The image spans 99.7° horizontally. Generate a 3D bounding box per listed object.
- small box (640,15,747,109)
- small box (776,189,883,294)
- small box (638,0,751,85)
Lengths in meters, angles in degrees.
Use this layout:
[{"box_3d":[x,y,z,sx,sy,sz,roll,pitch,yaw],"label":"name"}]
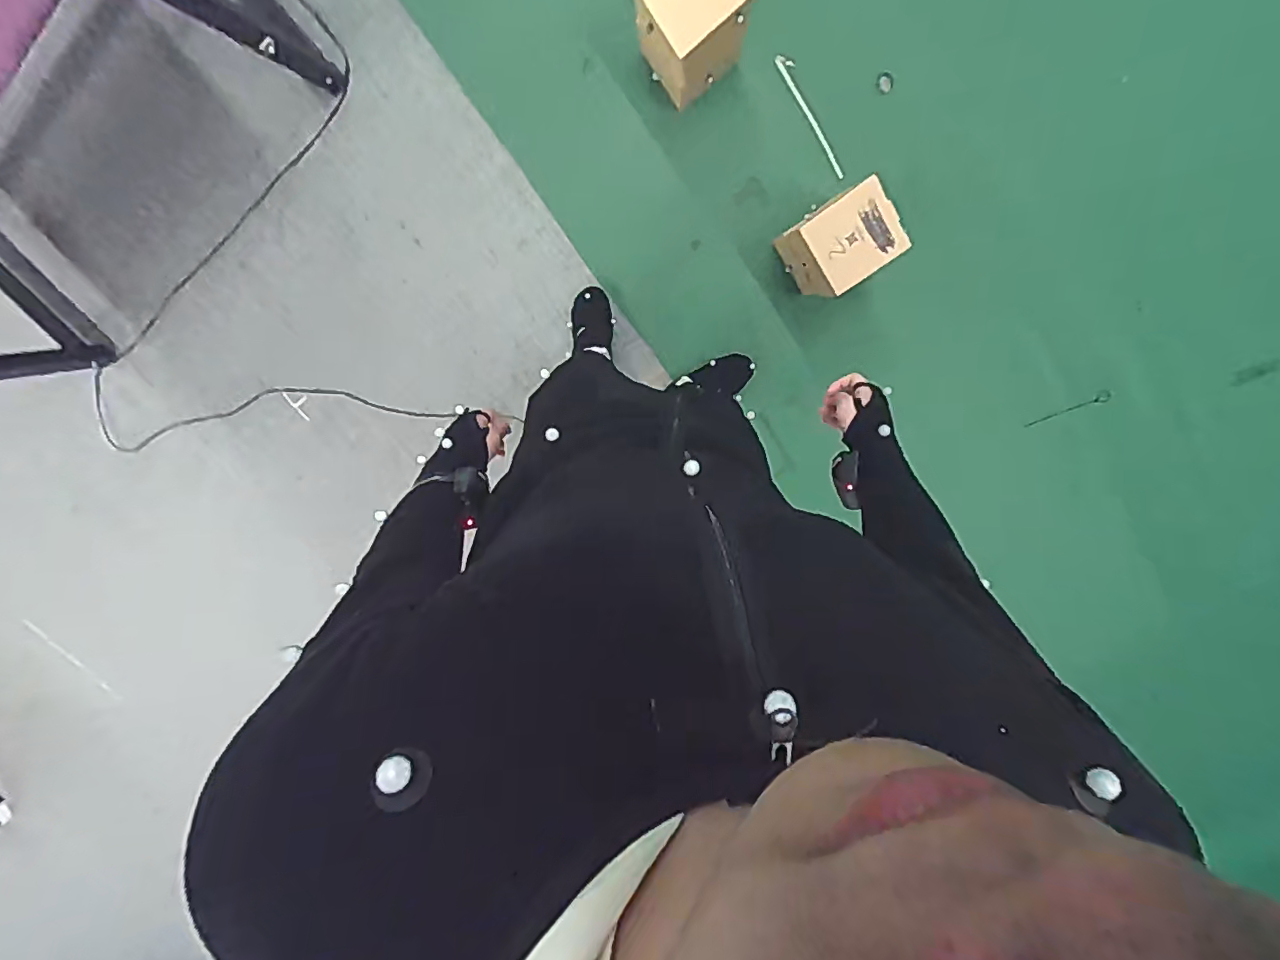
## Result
[{"box_3d":[0.119,-0.998,1.229,0.179,0.176,0.168,-34,102,15],"label":"small box"},{"box_3d":[0.461,-0.584,1.342,0.179,0.176,0.168,-32,104,14],"label":"small box"},{"box_3d":[0.108,-0.944,1.077,0.179,0.176,0.168,-34,102,14],"label":"small box"}]
